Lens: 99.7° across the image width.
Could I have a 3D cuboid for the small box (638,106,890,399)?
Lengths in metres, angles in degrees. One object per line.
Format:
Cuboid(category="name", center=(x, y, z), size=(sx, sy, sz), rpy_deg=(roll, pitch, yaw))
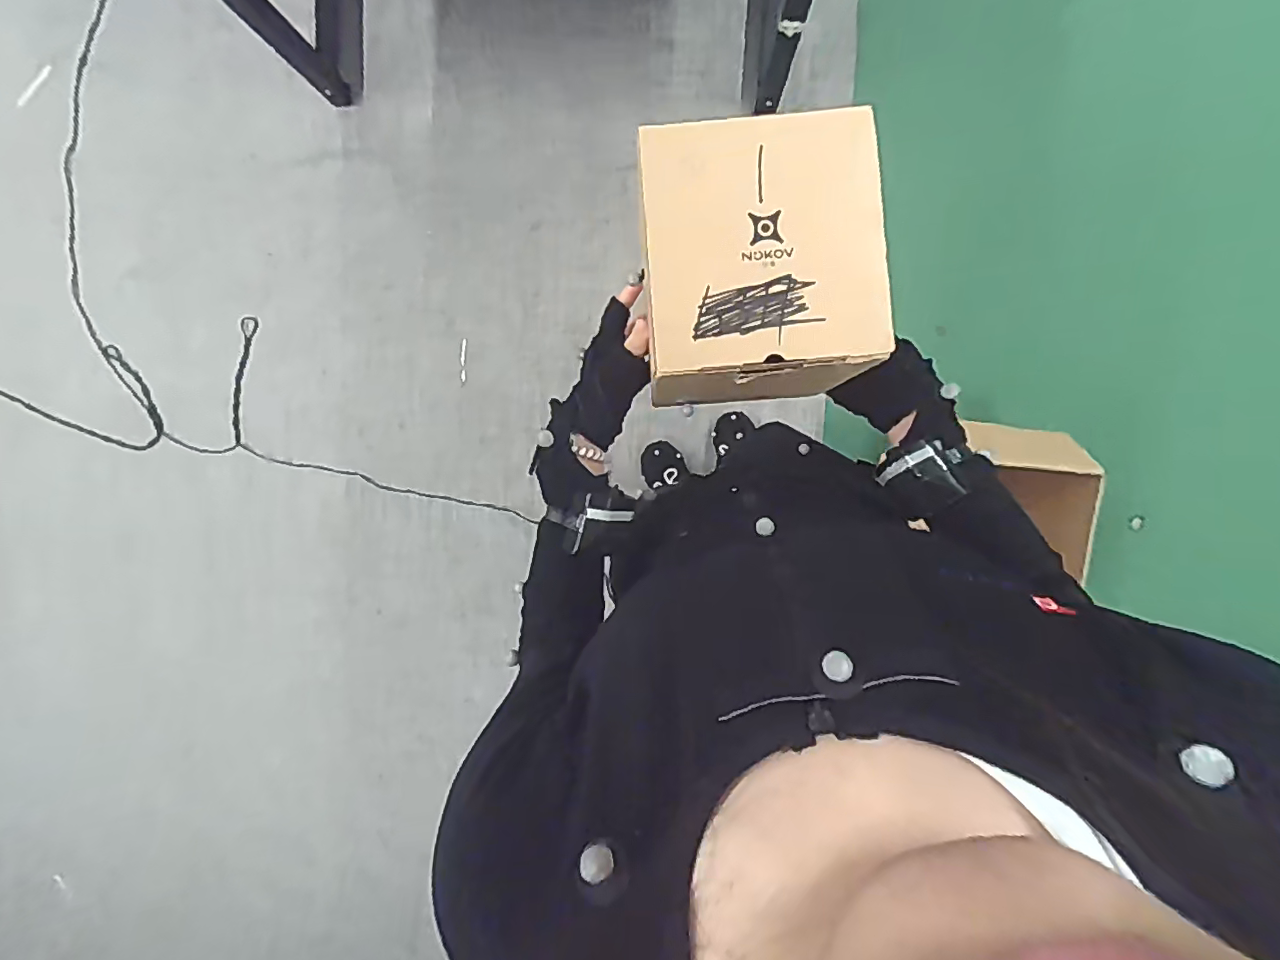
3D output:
Cuboid(category="small box", center=(0.088, -0.166, 0.454), size=(0.168, 0.176, 0.179), rpy_deg=(-5, 90, 0))
